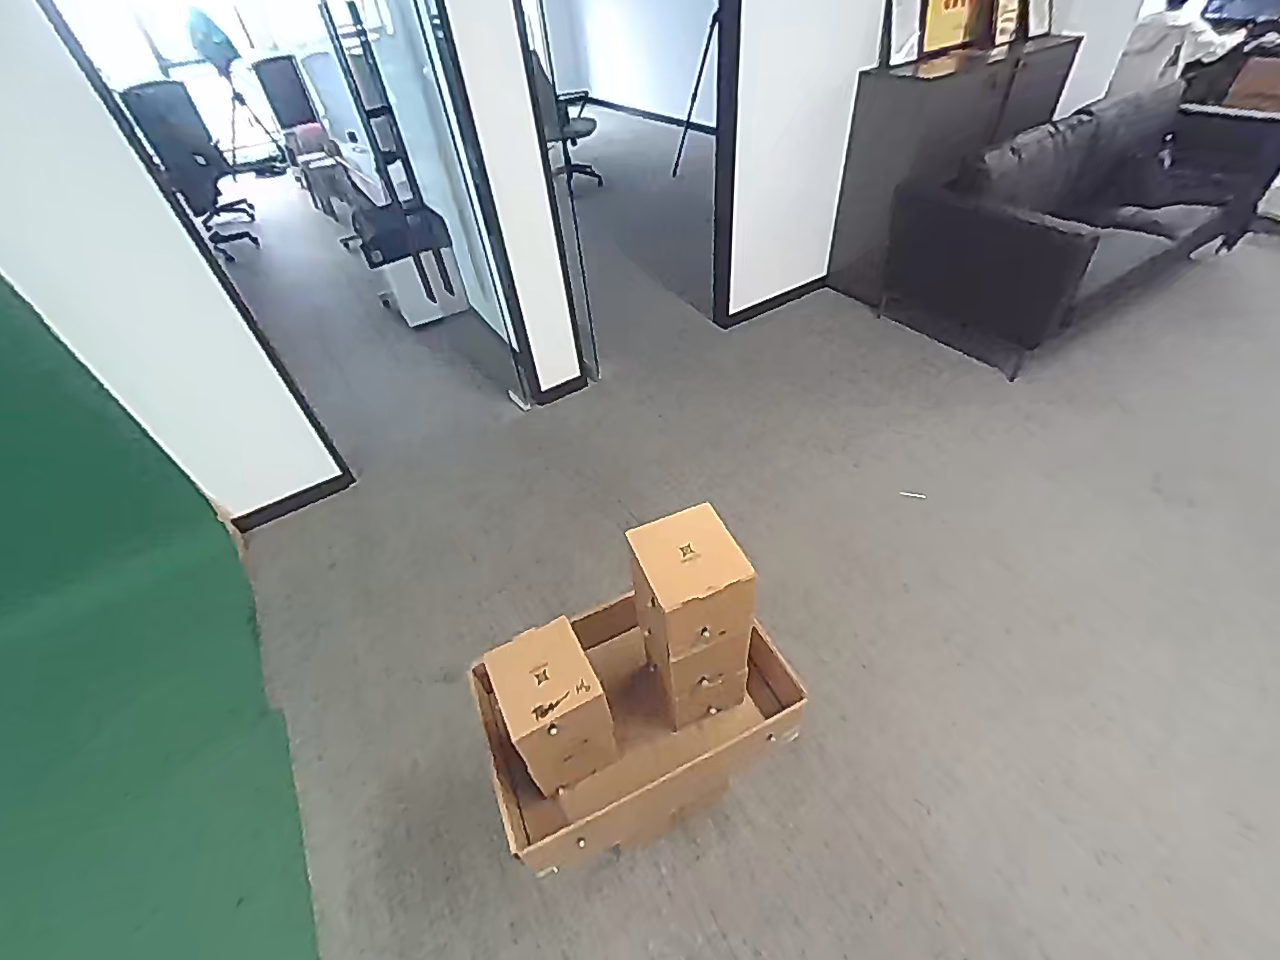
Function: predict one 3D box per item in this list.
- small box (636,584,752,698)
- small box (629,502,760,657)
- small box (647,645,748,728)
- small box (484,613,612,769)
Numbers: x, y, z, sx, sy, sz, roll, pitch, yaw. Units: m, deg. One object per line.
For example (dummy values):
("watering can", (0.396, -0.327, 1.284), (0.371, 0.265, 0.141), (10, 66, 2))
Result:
("small box", (0.101, 0.290, 1.060), (0.168, 0.176, 0.179), (-18, 46, -12))
("small box", (0.090, 0.174, 0.948), (0.168, 0.176, 0.179), (-19, 47, -12))
("small box", (0.116, 0.403, 1.177), (0.168, 0.176, 0.179), (-18, 46, -12))
("small box", (-0.165, 0.386, 0.988), (0.168, 0.176, 0.179), (-23, 47, -16))
